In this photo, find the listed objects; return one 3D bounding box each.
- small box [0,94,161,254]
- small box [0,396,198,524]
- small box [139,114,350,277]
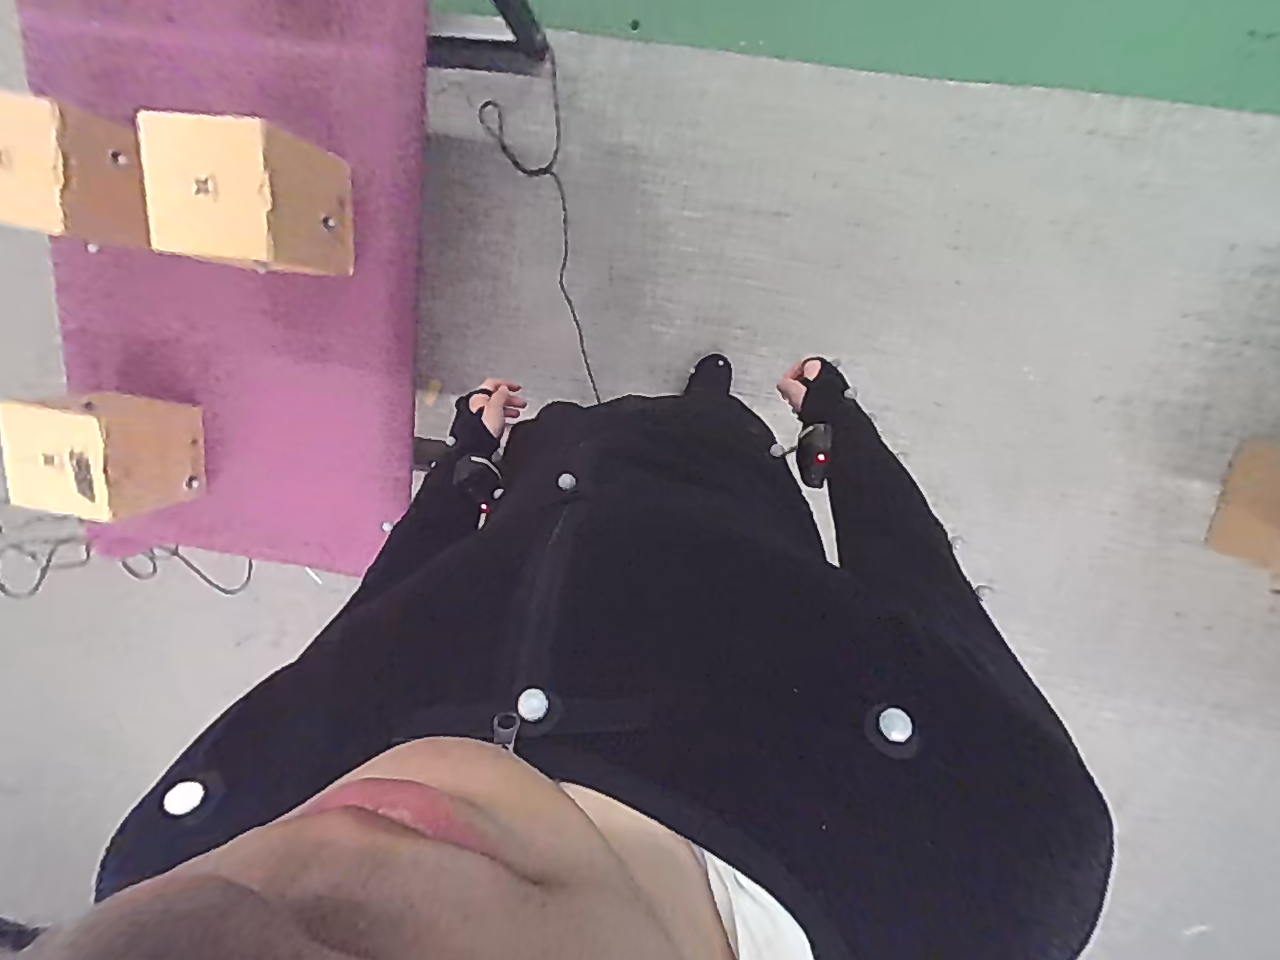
[{"bbox_3d":[-0.840,-0.441,0.793,0.179,0.176,0.168,12,104,4],"label":"small box"},{"bbox_3d":[-0.872,-0.041,0.889,0.179,0.176,0.168,10,104,5],"label":"small box"},{"bbox_3d":[-0.547,-0.391,0.770,0.179,0.176,0.168,7,104,5],"label":"small box"}]
